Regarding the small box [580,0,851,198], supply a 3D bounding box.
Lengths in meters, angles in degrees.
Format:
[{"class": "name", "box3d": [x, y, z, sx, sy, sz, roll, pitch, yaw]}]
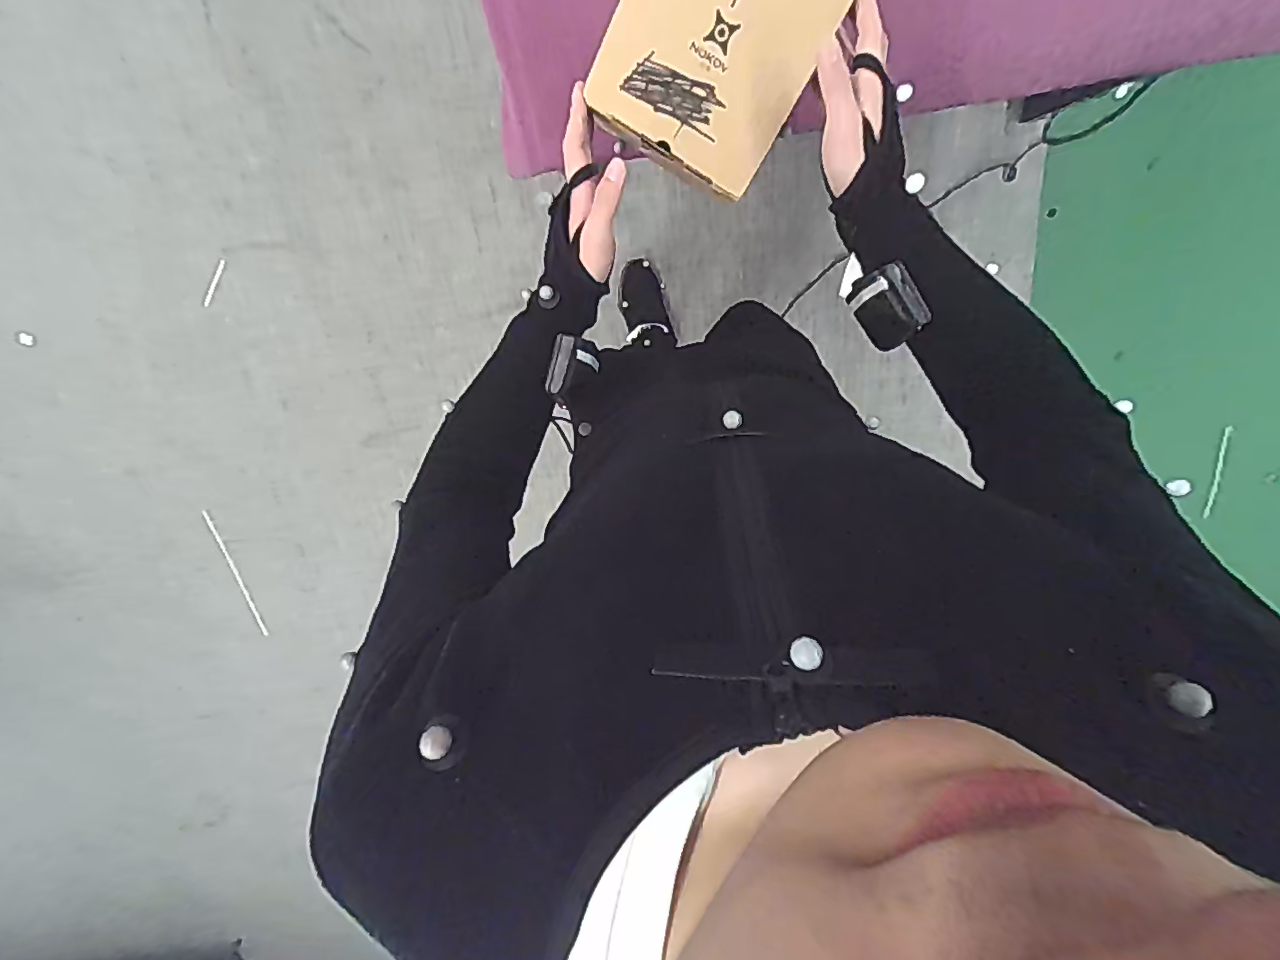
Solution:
[{"class": "small box", "box3d": [0.063, -0.394, 0.518, 0.168, 0.176, 0.179, 27, 114, -10]}]
